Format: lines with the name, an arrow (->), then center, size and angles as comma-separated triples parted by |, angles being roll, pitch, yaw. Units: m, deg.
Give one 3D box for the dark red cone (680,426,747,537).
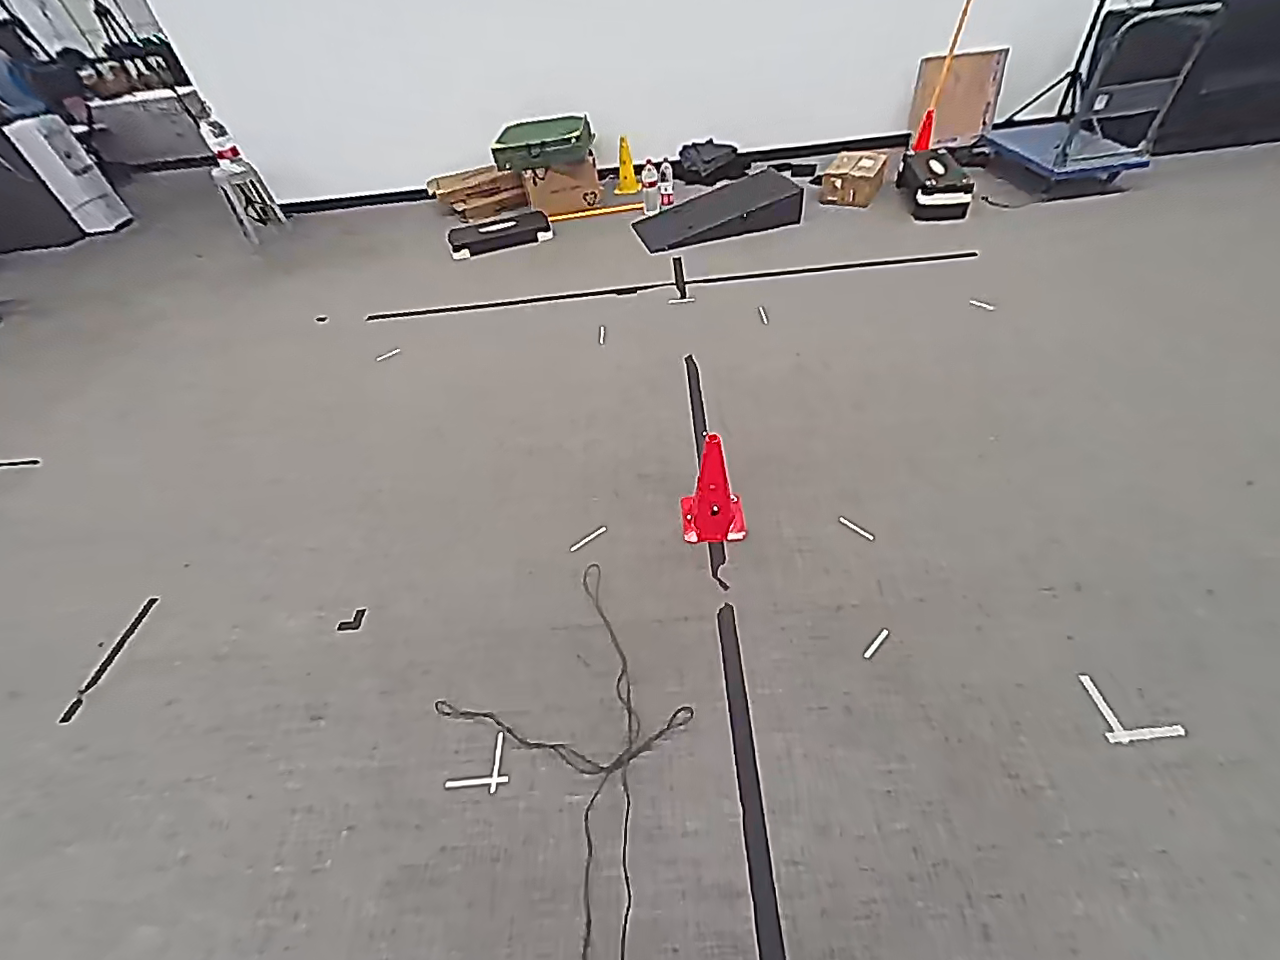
dark red cone -> 0.219, -0.009, 1.650 | 0.201, 0.394, 0.202 | -6, 46, 3
